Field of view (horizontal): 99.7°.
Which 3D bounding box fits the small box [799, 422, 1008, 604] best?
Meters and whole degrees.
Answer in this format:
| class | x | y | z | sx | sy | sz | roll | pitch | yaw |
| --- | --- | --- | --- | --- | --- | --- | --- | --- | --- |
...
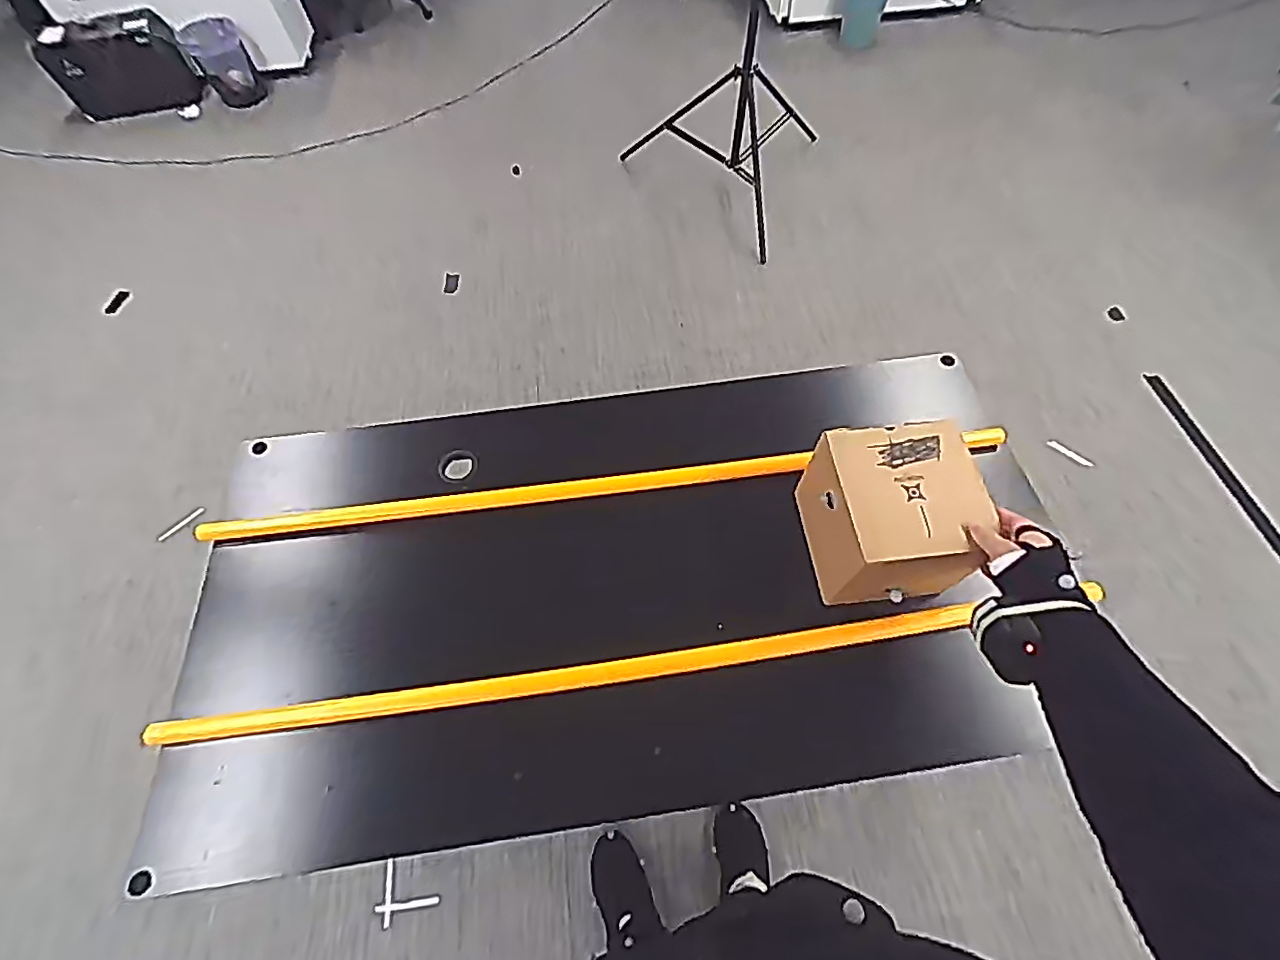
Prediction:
| class | x | y | z | sx | sy | sz | roll | pitch | yaw |
| --- | --- | --- | --- | --- | --- | --- | --- | --- | --- |
| small box | 0.319 | 0.047 | 0.702 | 0.168 | 0.176 | 0.179 | -5 | 61 | -1 |
